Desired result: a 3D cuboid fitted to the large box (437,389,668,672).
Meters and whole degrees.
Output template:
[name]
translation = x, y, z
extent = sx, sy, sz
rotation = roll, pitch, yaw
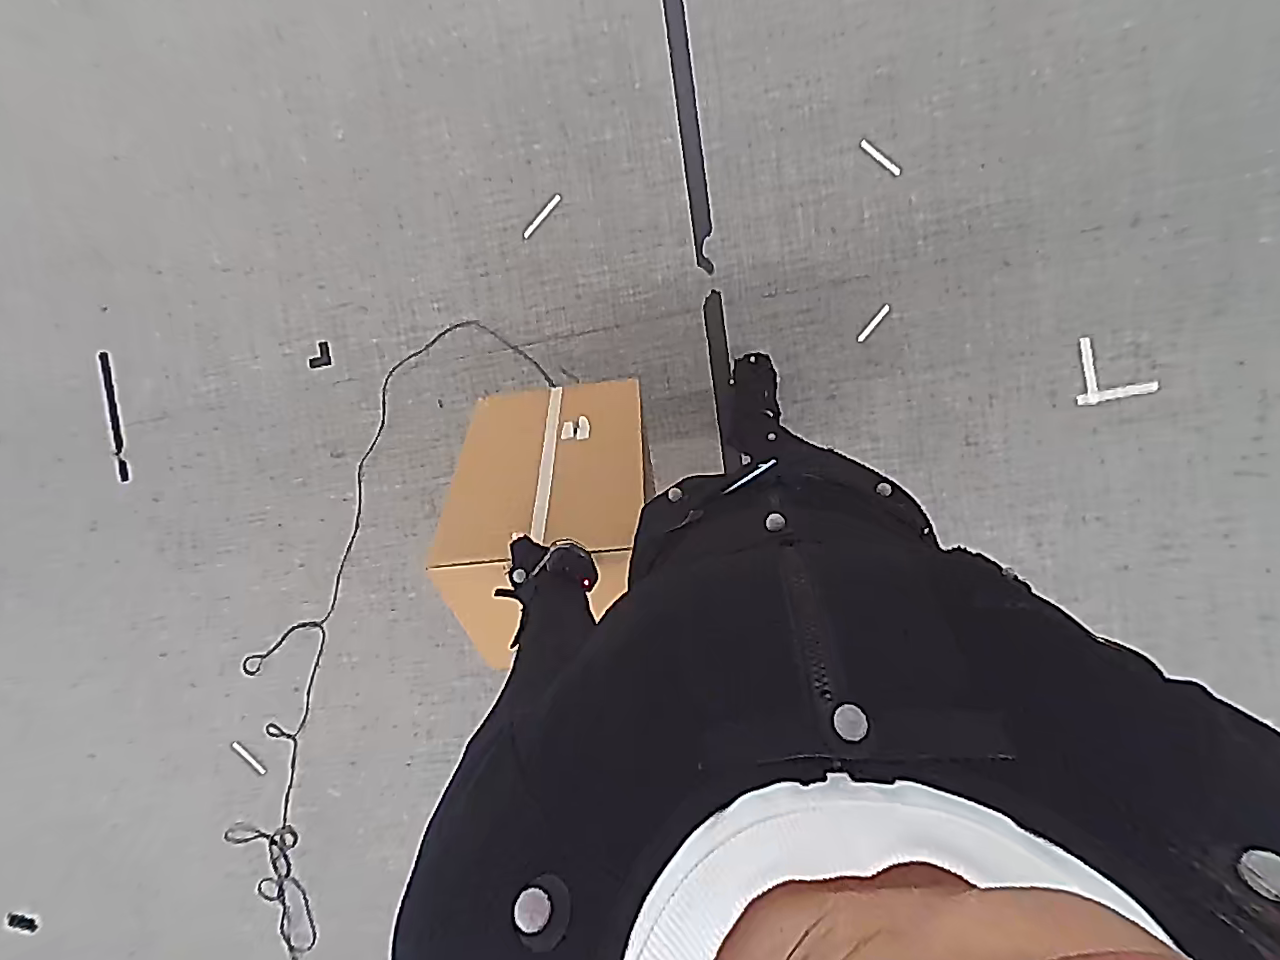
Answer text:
[large box]
translation = -0.127, 0.085, 0.996
extent = 0.320, 0.408, 0.320
rotation = -6, 132, 3
